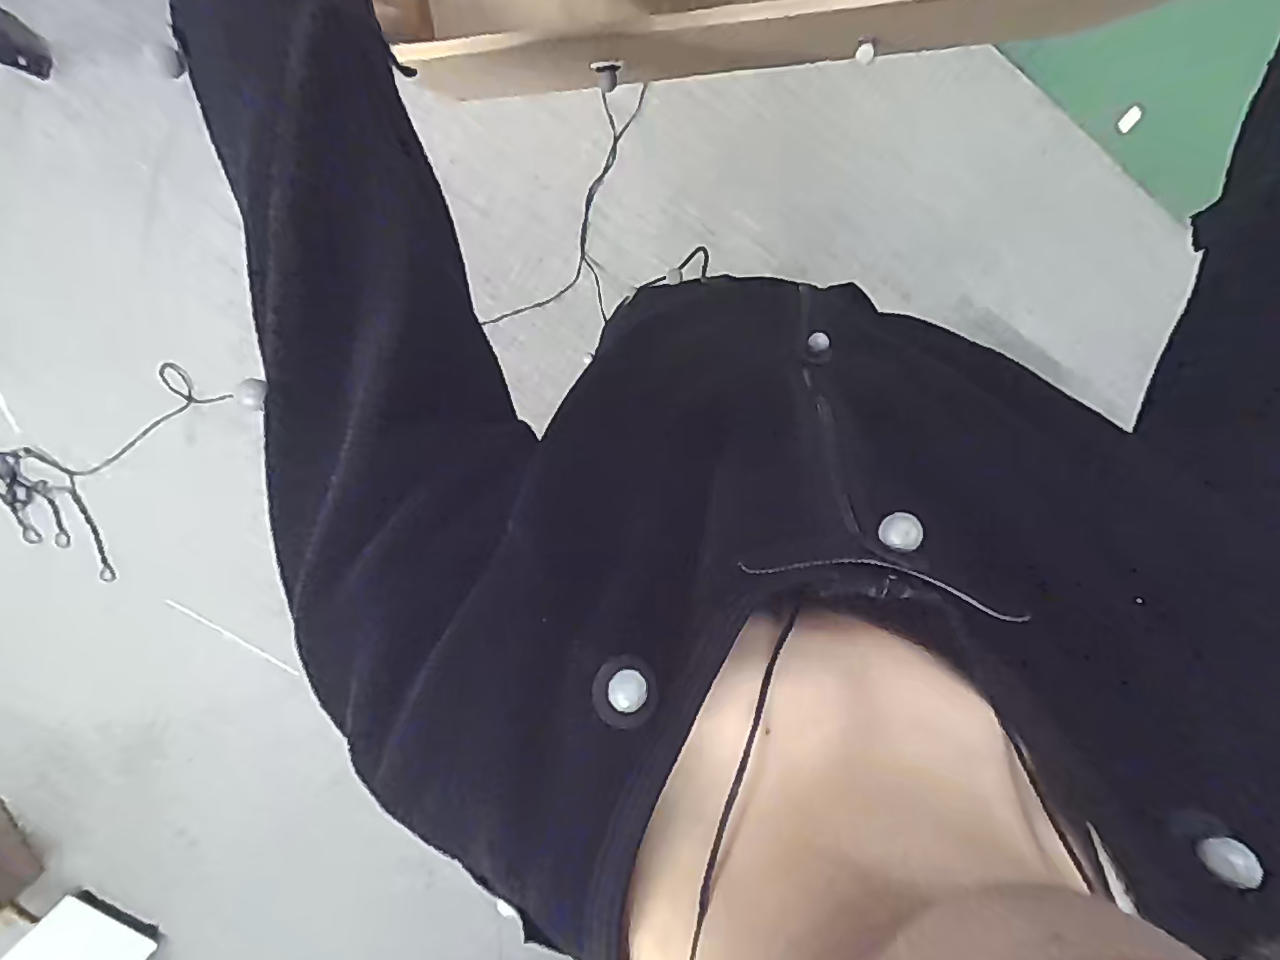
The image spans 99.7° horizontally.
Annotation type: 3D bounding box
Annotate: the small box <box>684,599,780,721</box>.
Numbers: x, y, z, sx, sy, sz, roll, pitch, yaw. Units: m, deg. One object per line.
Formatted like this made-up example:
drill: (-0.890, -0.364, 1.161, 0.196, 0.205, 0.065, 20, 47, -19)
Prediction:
small box: (0.204, 0.401, 1.220, 0.168, 0.176, 0.179, -18, 105, 9)
